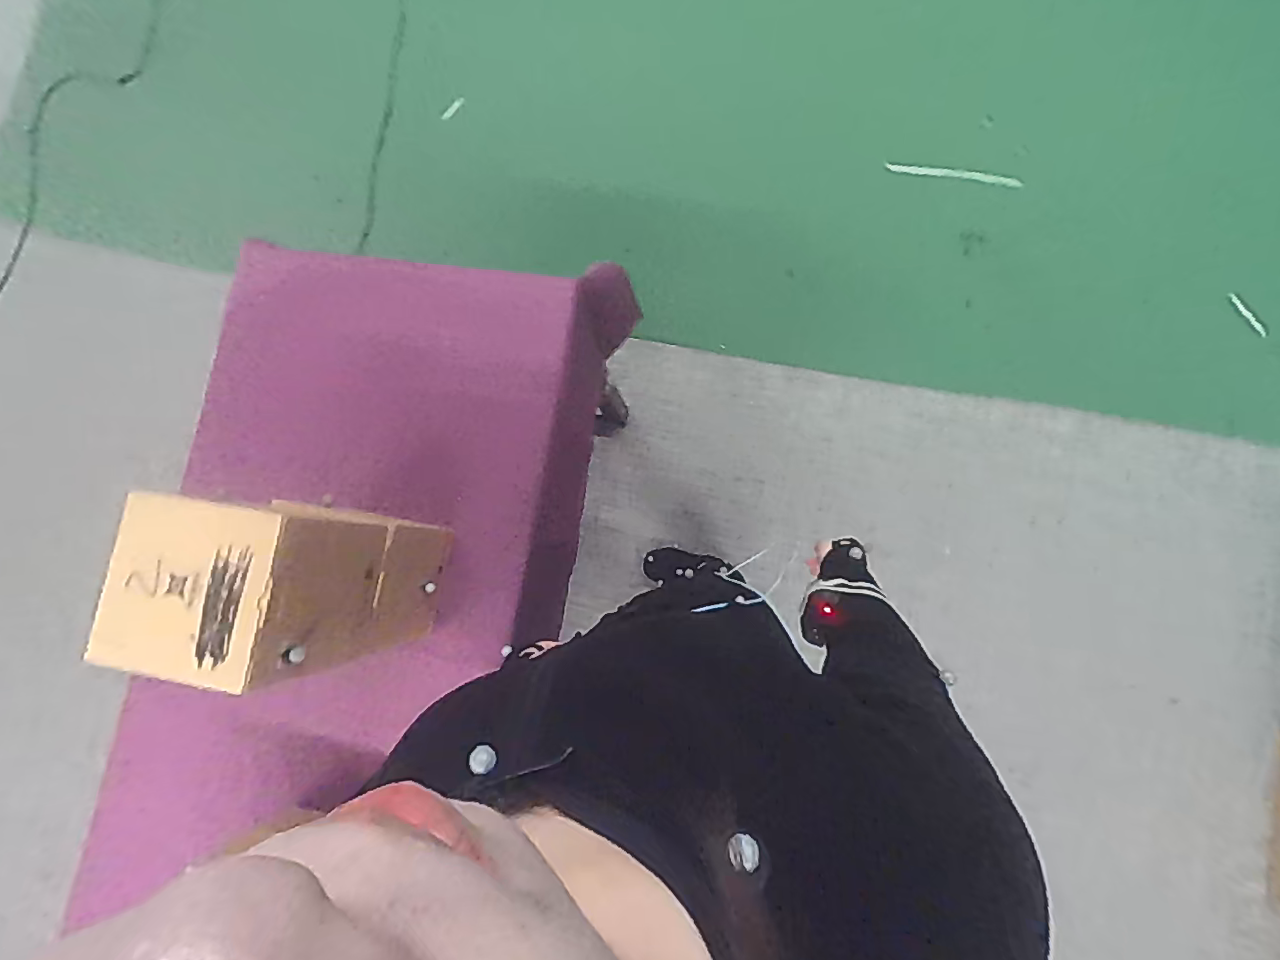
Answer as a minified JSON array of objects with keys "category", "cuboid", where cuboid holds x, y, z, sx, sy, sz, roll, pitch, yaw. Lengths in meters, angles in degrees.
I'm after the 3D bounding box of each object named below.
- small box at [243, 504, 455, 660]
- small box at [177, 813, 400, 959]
[{"category":"small box","cuboid":[-0.390,0.136,0.753,0.179,0.176,0.168,10,84,9]},{"category":"small box","cuboid":[-0.442,0.564,0.697,0.179,0.176,0.168,7,82,9]}]
